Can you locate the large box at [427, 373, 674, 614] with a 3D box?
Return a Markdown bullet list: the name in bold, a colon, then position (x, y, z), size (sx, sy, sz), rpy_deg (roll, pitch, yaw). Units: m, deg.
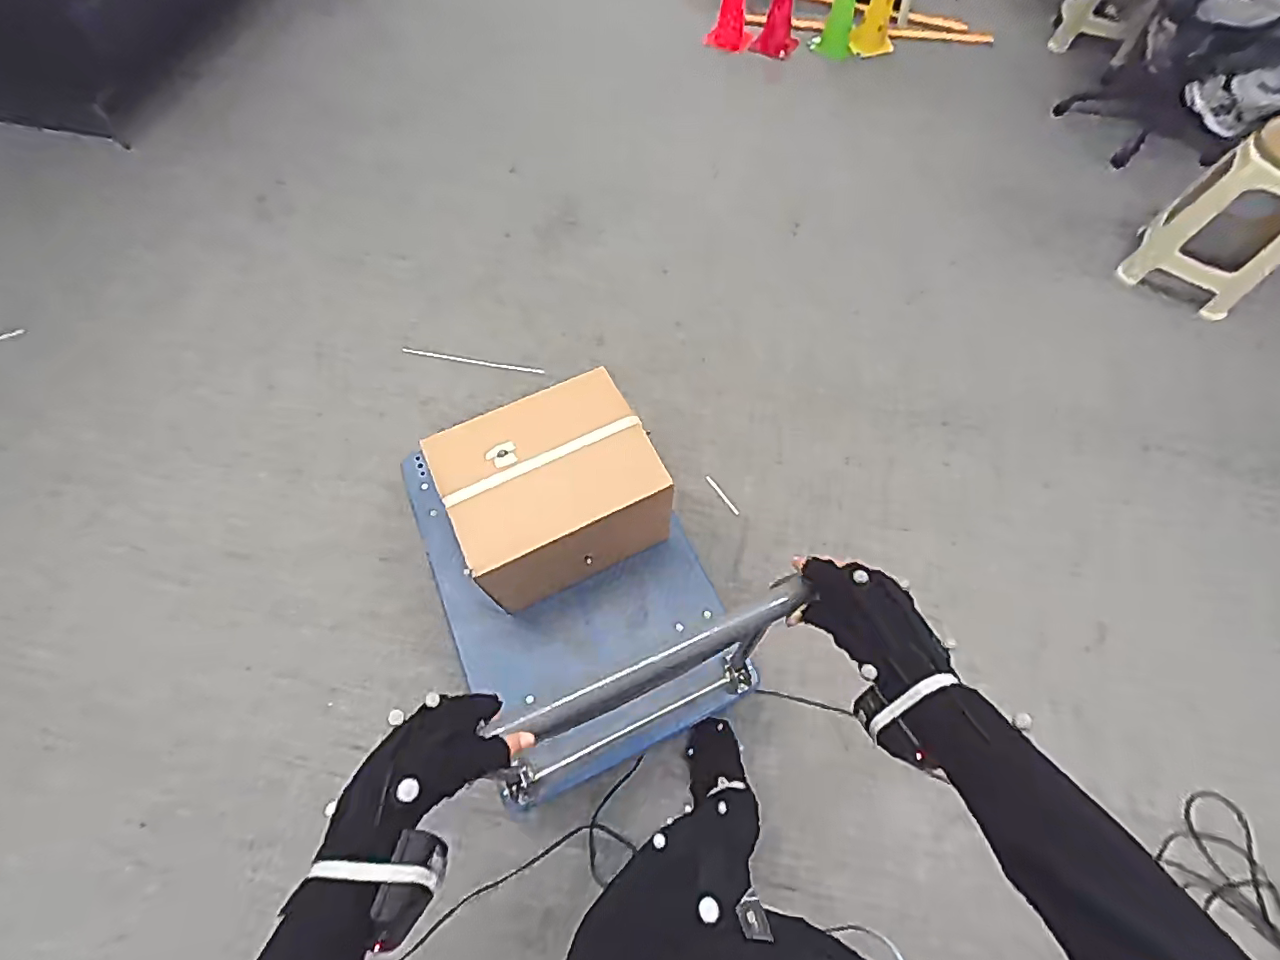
- **large box**: position (-0.174, 0.040, 1.182), size (0.408, 0.320, 0.320), rpy_deg (-26, 66, -11)
